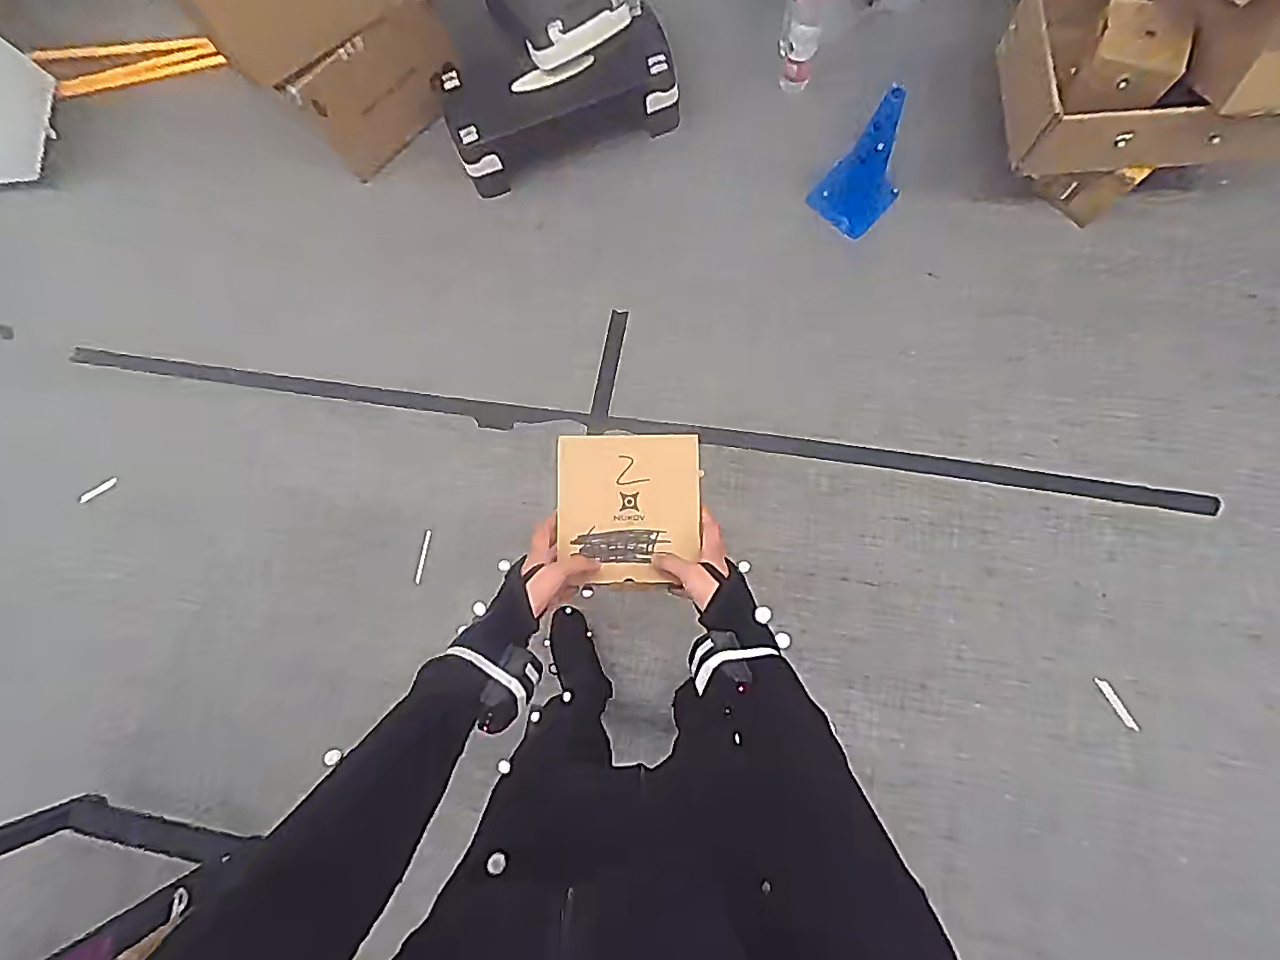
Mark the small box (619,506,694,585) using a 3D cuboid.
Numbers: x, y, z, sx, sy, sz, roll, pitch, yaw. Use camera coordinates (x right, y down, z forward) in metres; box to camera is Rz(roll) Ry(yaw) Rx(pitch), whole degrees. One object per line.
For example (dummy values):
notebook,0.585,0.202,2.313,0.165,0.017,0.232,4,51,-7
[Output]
small box,0.047,0.171,1.391,0.168,0.176,0.179,6,82,7
